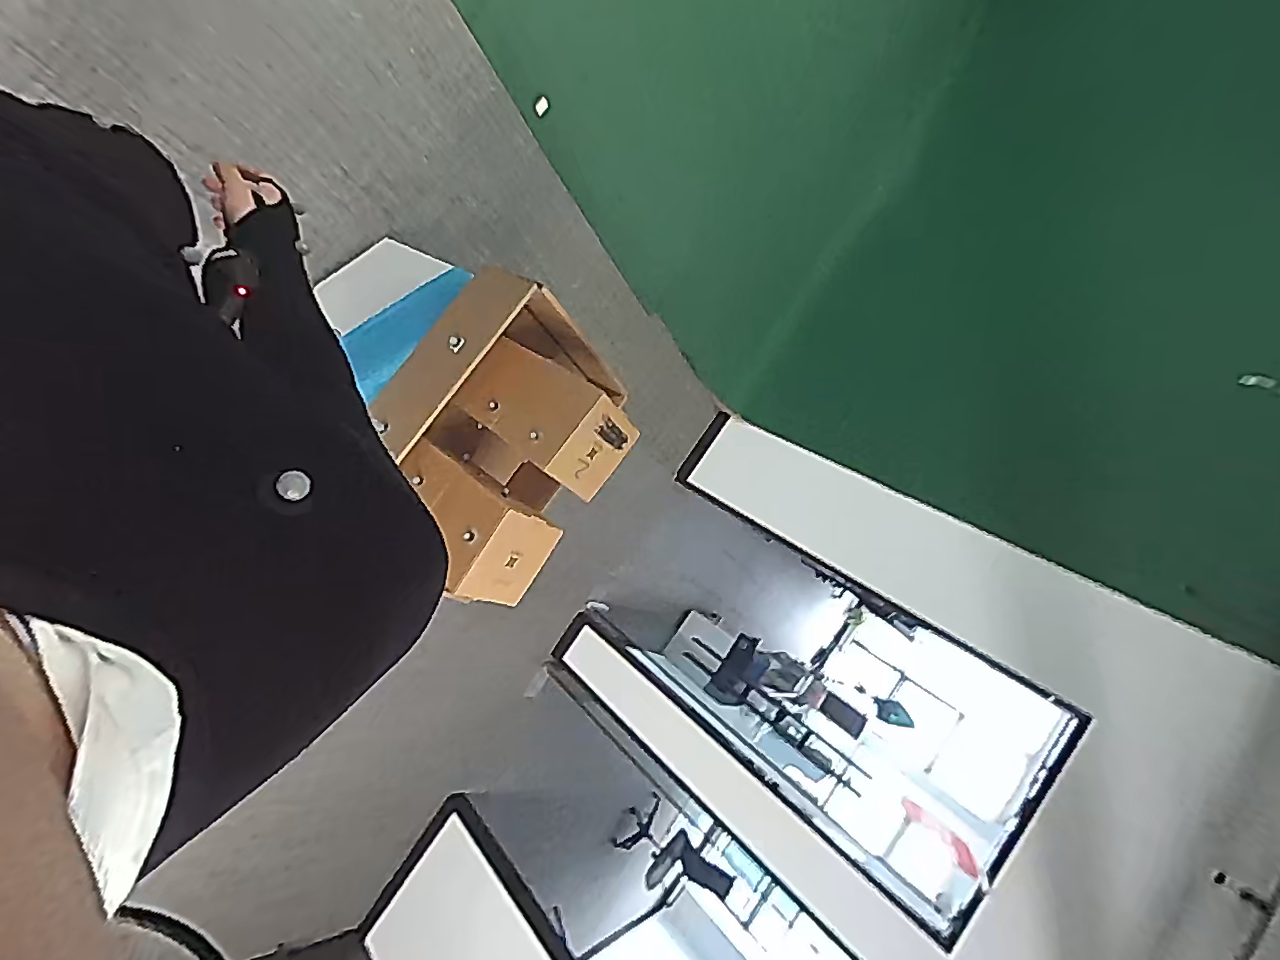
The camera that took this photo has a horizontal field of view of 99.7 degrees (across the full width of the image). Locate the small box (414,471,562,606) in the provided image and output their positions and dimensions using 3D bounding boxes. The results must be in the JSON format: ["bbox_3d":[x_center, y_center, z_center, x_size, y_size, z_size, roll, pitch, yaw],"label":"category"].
[{"bbox_3d":[-0.287,0.108,1.015,0.179,0.176,0.168,-56,146,-2],"label":"small box"}]

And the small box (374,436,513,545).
[{"bbox_3d":[-0.404,0.036,1.104,0.179,0.176,0.168,-56,147,-4],"label":"small box"}]

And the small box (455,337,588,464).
[{"bbox_3d":[-0.250,-0.169,1.134,0.179,0.176,0.168,-52,147,-4],"label":"small box"}]
